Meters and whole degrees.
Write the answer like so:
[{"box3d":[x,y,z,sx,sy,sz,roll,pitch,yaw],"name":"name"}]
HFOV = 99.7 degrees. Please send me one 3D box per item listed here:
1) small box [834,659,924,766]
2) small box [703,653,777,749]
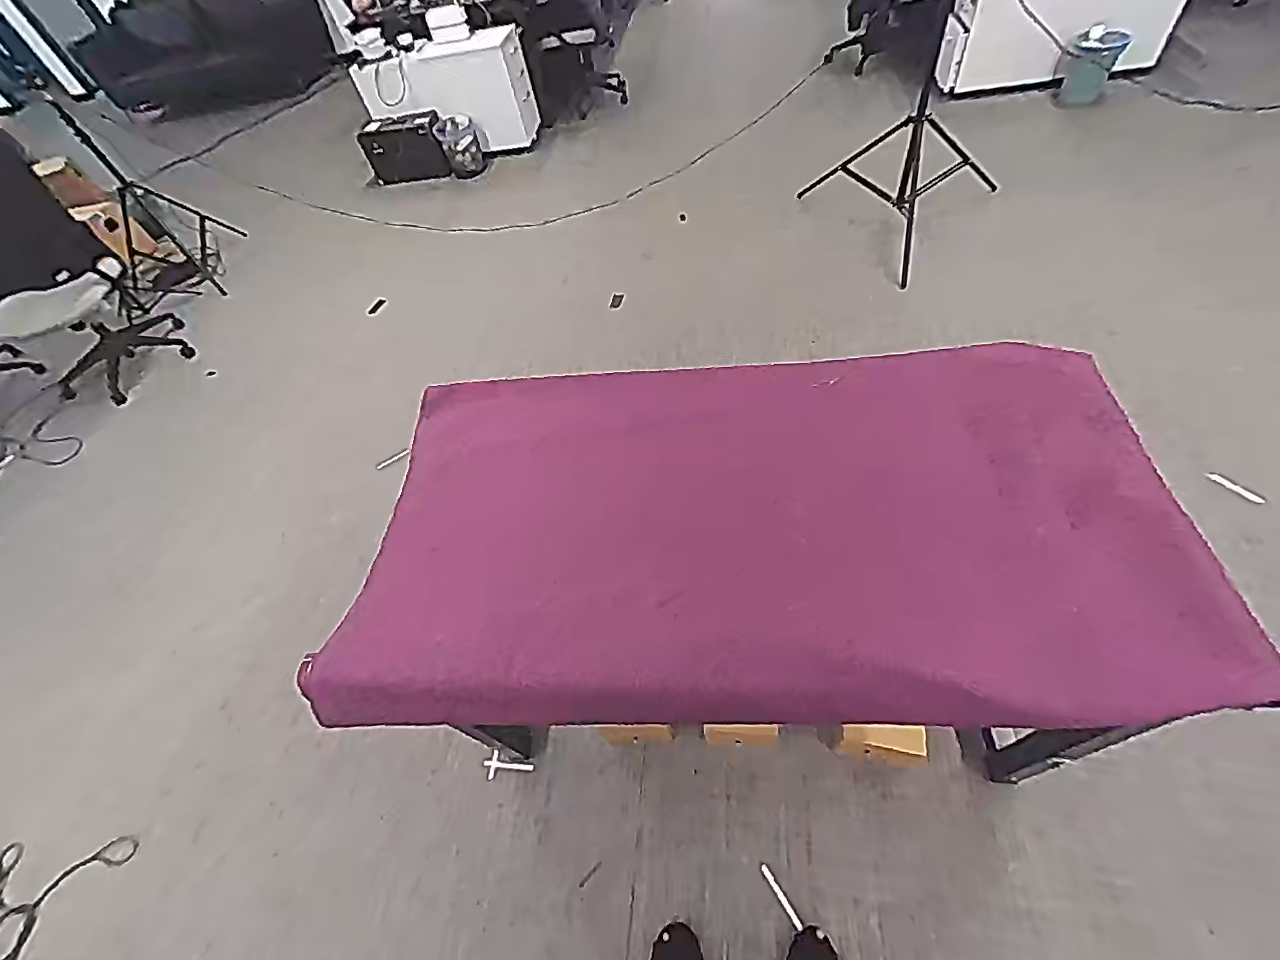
[{"box3d":[0.548,0.543,1.254,0.168,0.176,0.179,6,54,15],"name":"small box"},{"box3d":[0.245,0.539,1.312,0.168,0.176,0.179,0,53,11],"name":"small box"}]
